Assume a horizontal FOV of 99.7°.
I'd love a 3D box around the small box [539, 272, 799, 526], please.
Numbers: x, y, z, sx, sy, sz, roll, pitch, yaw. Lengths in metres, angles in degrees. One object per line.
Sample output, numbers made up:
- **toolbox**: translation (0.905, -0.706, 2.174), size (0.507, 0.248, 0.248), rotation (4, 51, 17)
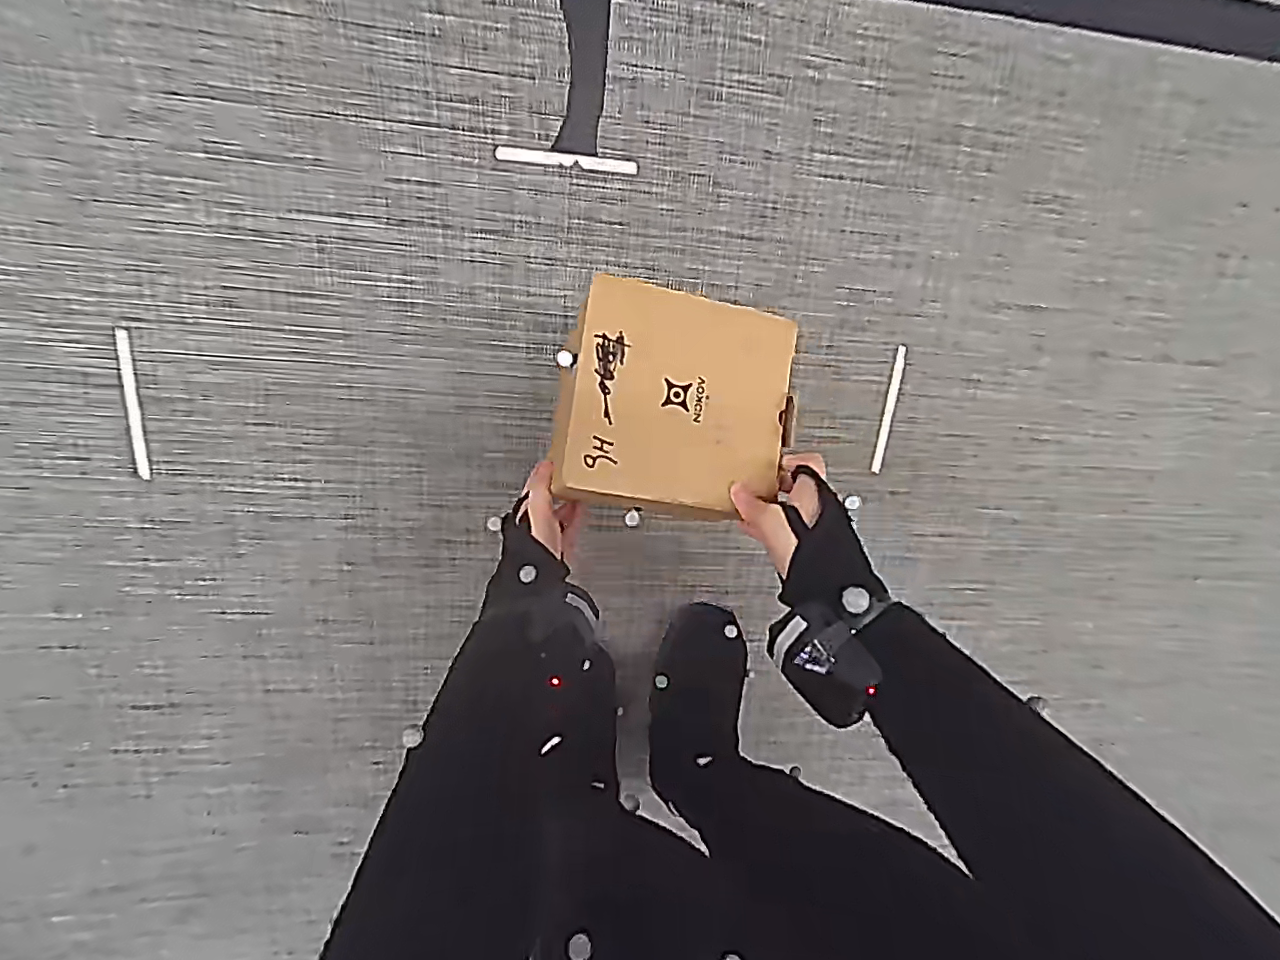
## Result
- **small box**: translation (0.014, -0.055, 0.488), size (0.179, 0.176, 0.168), rotation (10, 84, -14)
